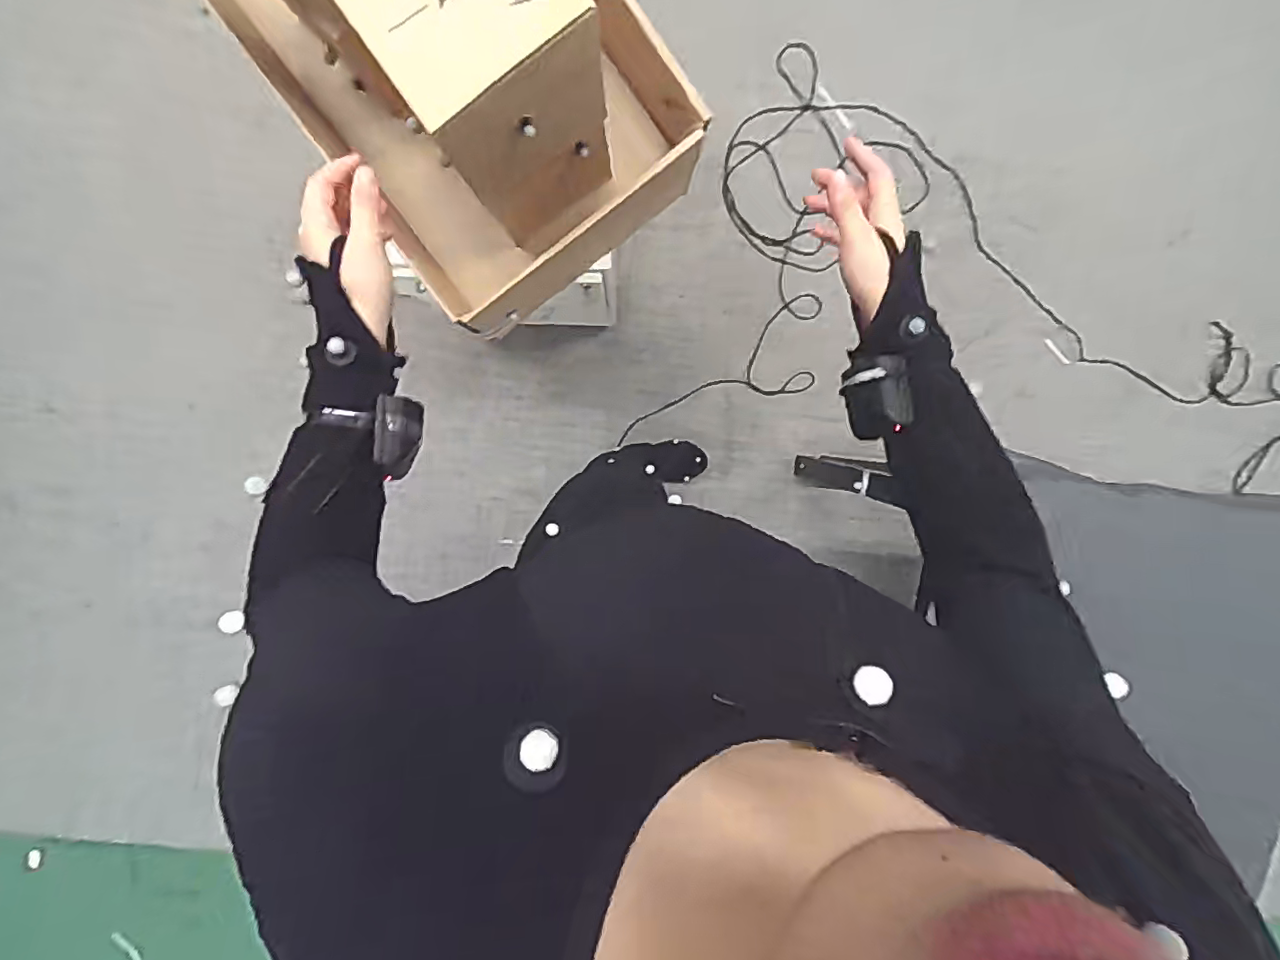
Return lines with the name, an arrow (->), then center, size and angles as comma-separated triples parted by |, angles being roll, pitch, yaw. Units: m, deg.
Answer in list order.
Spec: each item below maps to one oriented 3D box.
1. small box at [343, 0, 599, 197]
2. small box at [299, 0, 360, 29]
small box -> -0.152, -0.424, 0.531 | 0.179, 0.176, 0.168 | -35, 94, 5
small box -> -0.343, -0.598, 0.508 | 0.168, 0.176, 0.179 | 28, 99, -4
